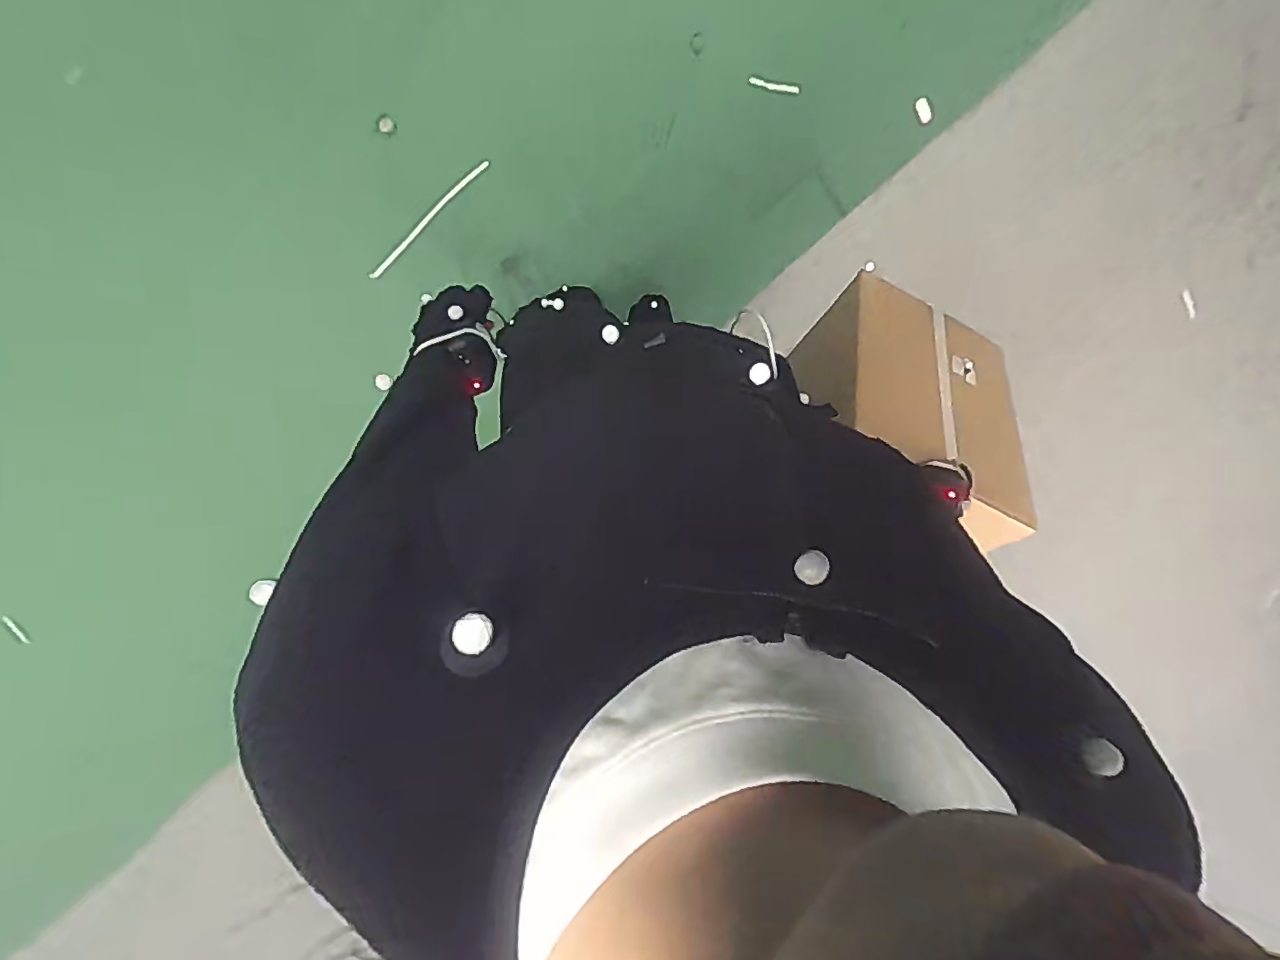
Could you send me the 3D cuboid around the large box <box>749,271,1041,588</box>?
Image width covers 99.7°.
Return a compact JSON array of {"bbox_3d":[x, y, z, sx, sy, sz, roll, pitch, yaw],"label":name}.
[{"bbox_3d":[0.420,-0.078,0.967,0.320,0.408,0.320,24,144,-10],"label":"large box"}]
